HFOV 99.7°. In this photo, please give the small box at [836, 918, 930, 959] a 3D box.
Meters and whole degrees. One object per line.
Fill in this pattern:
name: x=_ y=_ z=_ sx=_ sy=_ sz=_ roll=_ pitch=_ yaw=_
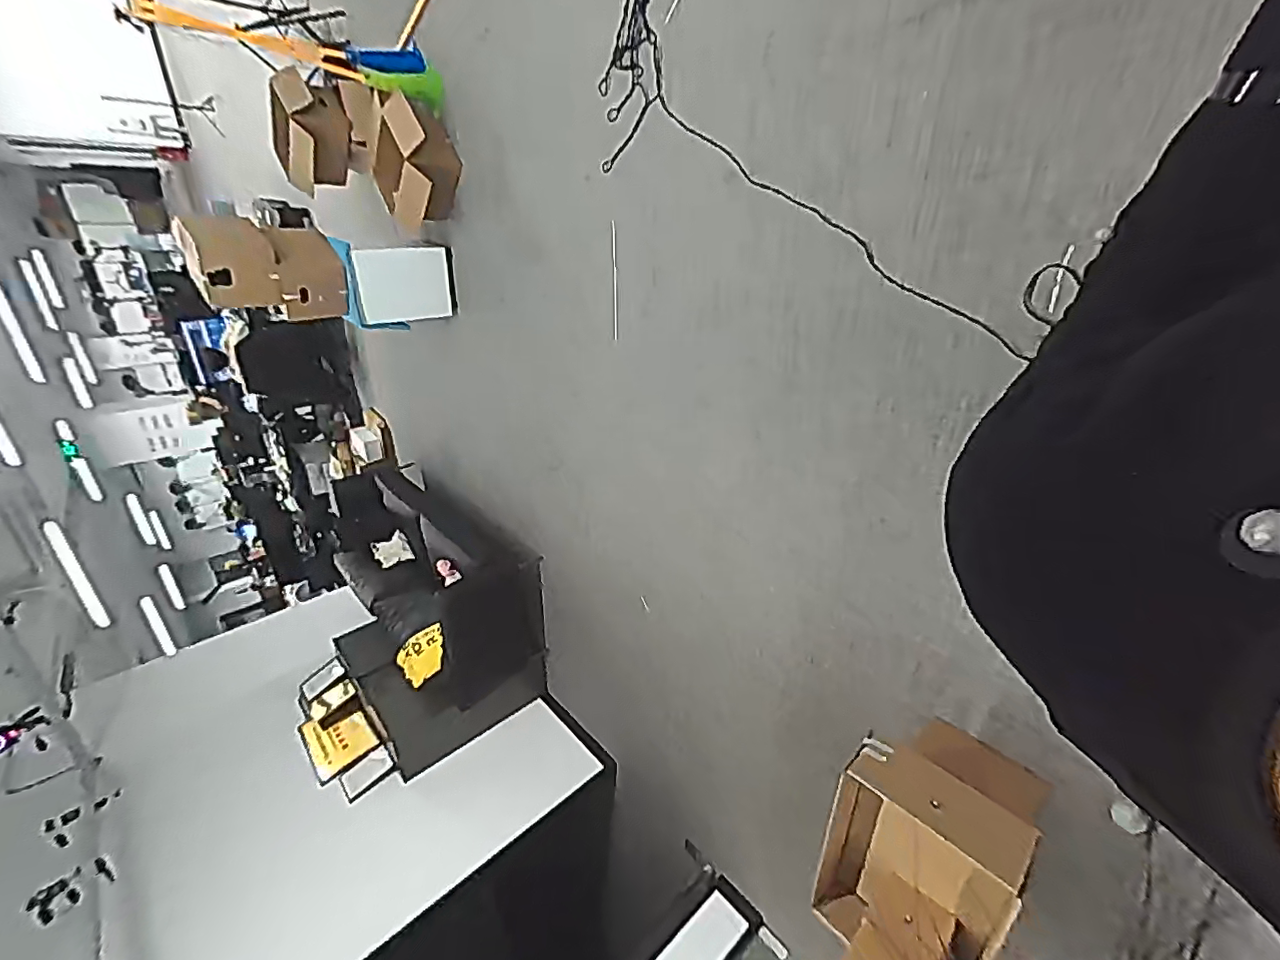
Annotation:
small box: x=0.591 y=1.225 z=1.317 sx=0.179 sy=0.176 sz=0.168 roll=19 pitch=120 yaw=43
